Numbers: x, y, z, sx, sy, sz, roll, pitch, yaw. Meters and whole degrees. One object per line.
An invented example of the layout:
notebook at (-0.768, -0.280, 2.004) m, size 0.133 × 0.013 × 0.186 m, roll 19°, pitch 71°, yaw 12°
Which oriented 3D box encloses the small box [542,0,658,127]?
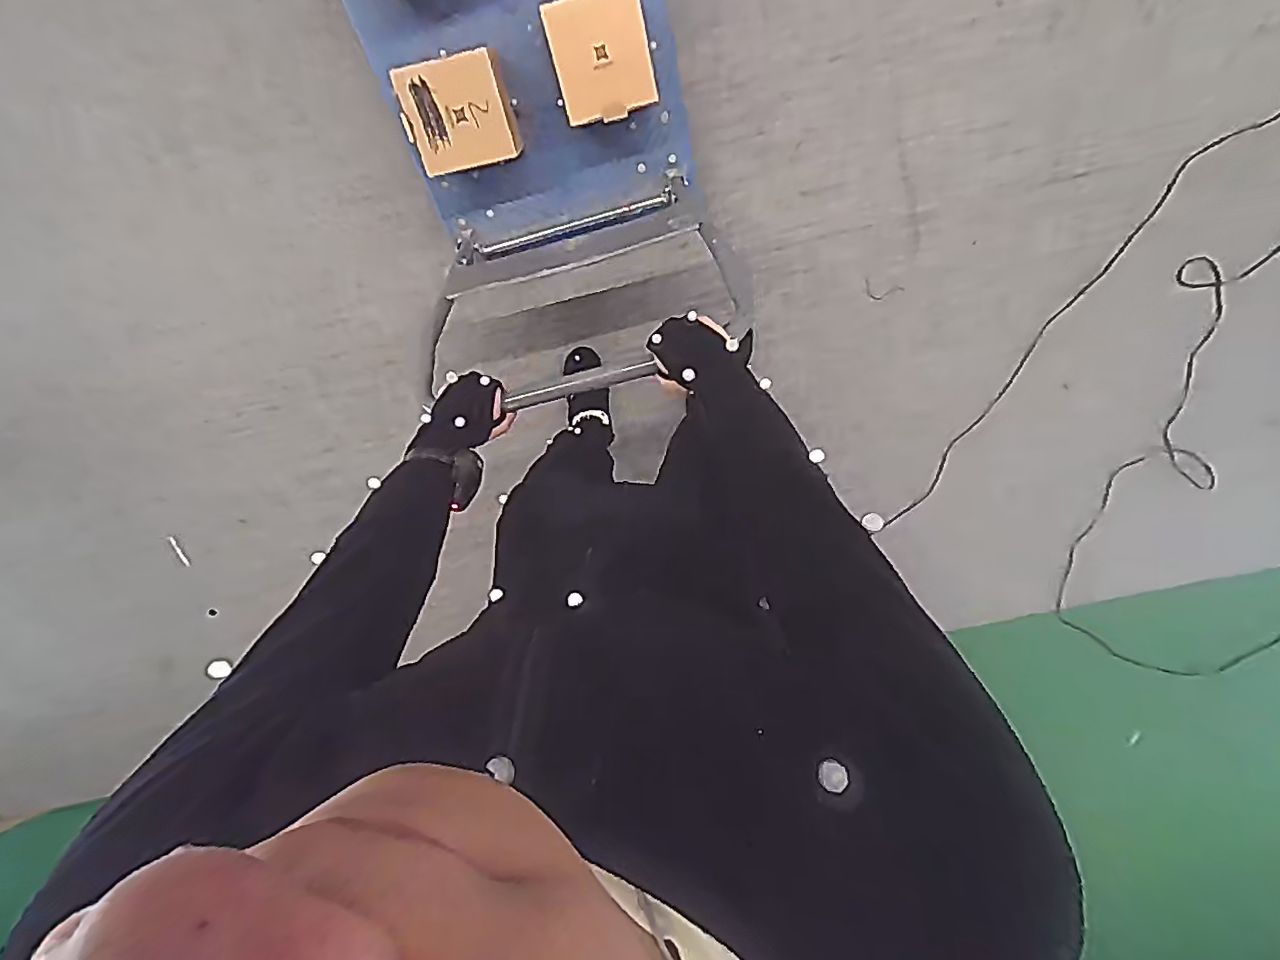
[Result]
small box at (-0.073, -0.776, 0.992) m, size 0.168 × 0.176 × 0.179 m, roll -14°, pitch 128°, yaw 5°
